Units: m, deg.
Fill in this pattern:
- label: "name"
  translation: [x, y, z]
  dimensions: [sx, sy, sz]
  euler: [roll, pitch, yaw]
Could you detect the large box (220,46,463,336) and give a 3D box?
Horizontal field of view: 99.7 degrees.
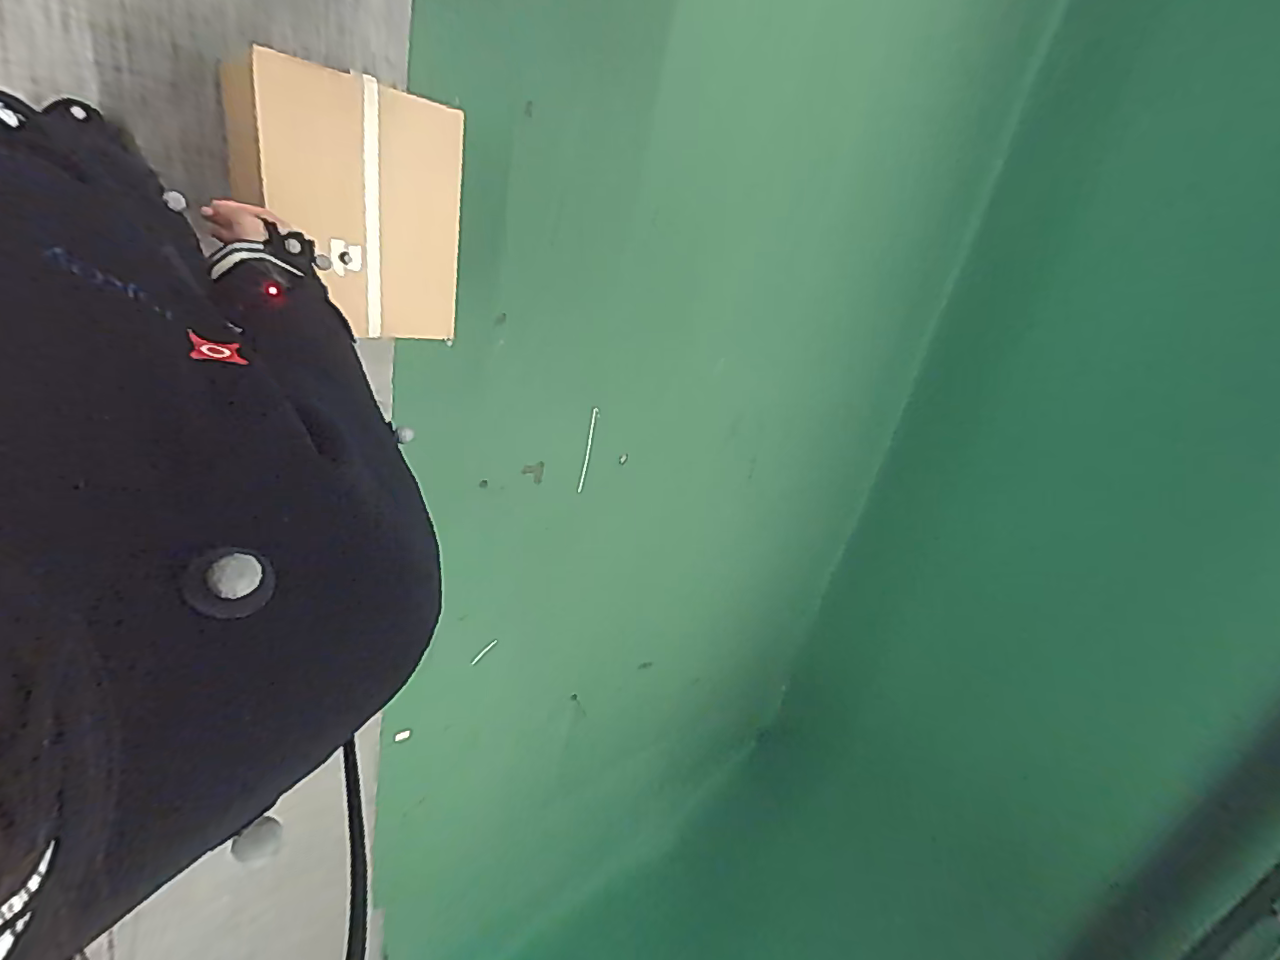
- label: "large box"
  translation: [-0.554, -0.513, 1.020]
  dimensions: [0.320, 0.320, 0.408]
  euler: [-11, 122, -41]
